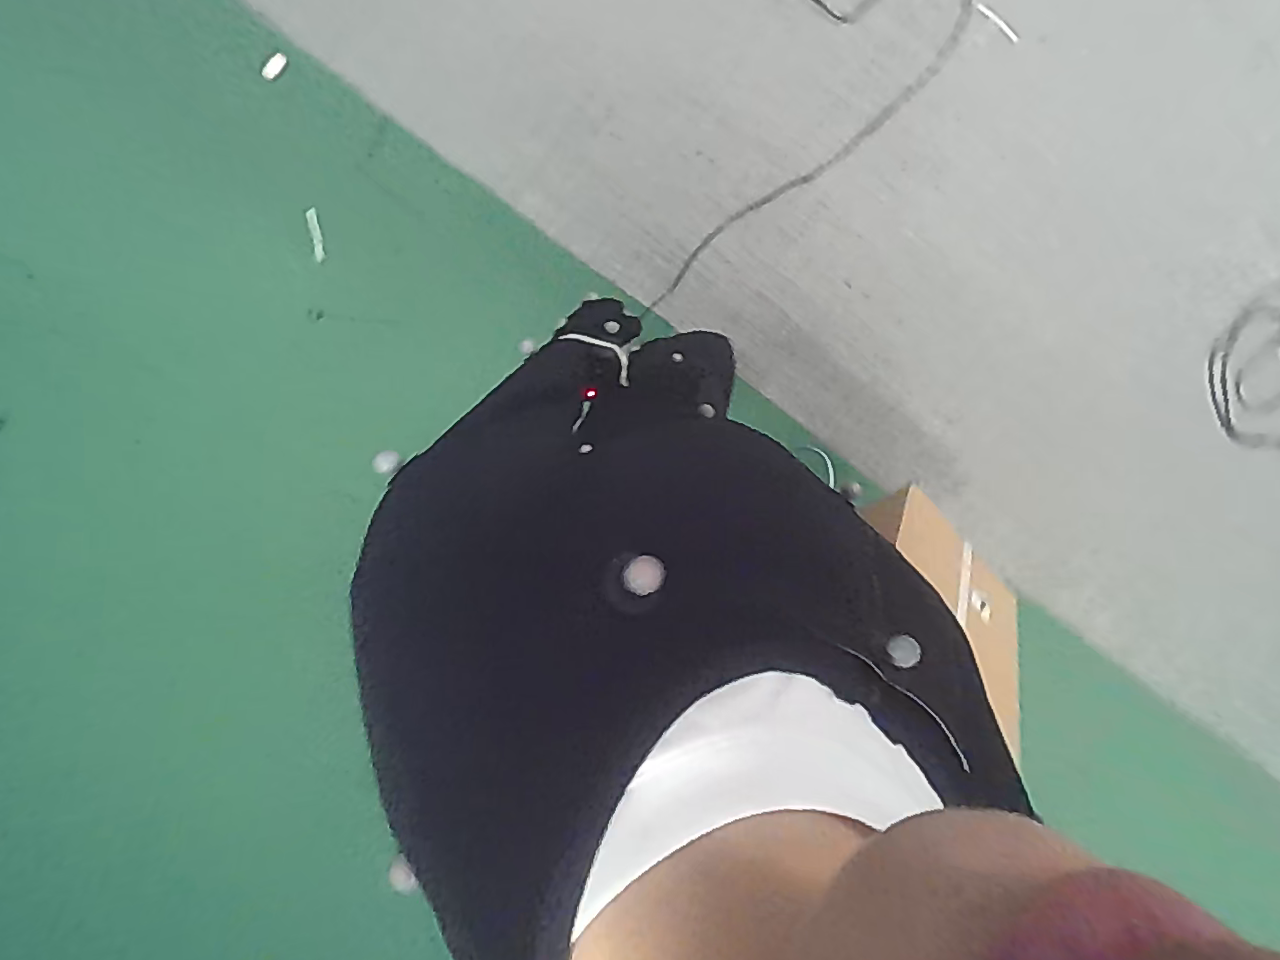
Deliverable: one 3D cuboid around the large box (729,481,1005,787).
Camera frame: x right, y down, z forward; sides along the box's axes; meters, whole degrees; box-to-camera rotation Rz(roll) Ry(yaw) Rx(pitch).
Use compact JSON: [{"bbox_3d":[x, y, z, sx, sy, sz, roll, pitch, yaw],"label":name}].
[{"bbox_3d":[0.426,0.280,1.006,0.320,0.408,0.320,48,133,-4],"label":"large box"}]
